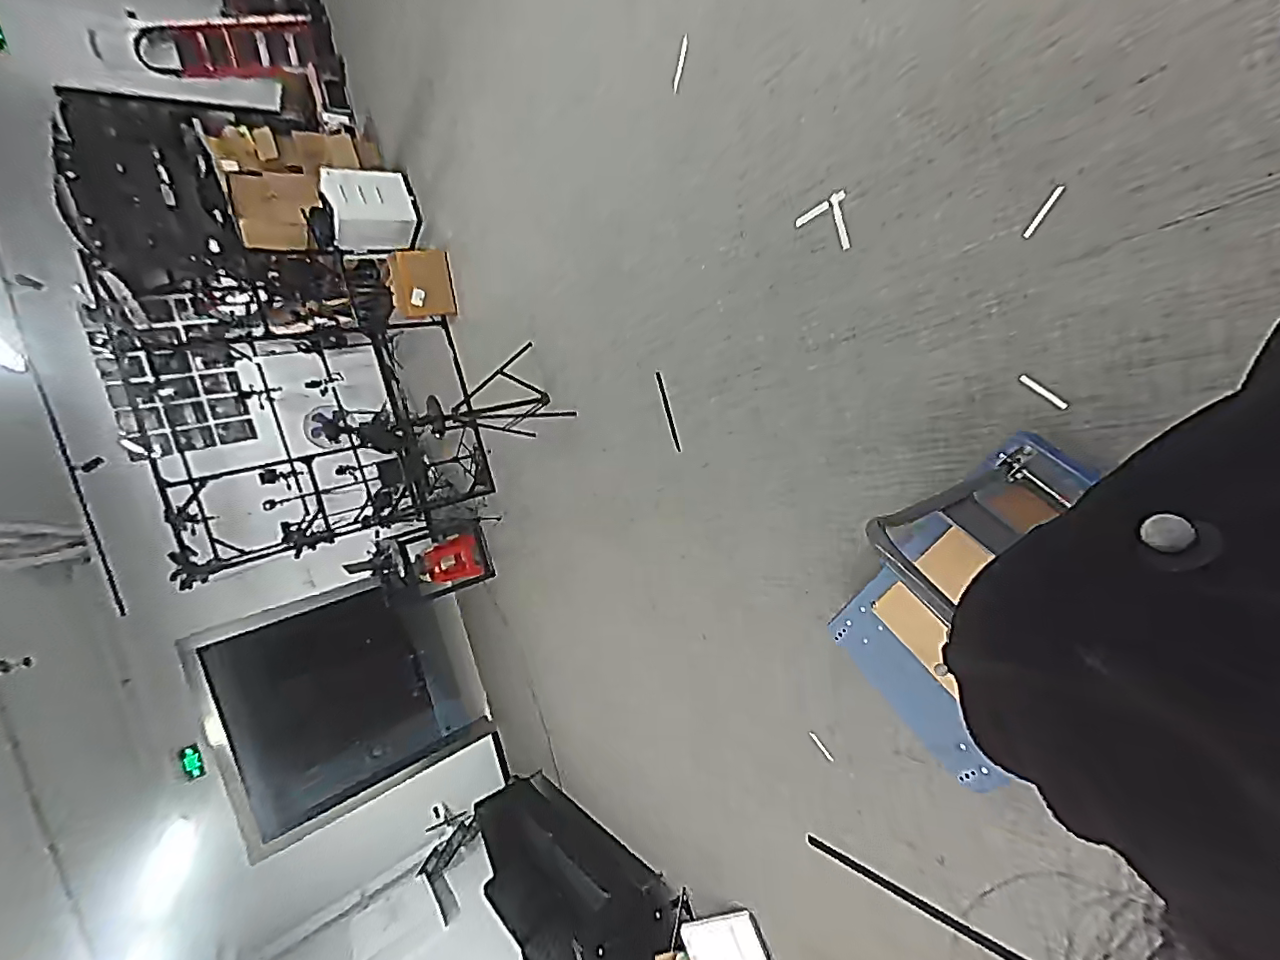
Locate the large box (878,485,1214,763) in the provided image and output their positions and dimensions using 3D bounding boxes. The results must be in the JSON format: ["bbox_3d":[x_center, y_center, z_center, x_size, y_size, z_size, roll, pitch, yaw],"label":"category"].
[{"bbox_3d":[0.811,0.278,1.123,0.408,0.320,0.320,52,140,30],"label":"large box"}]
